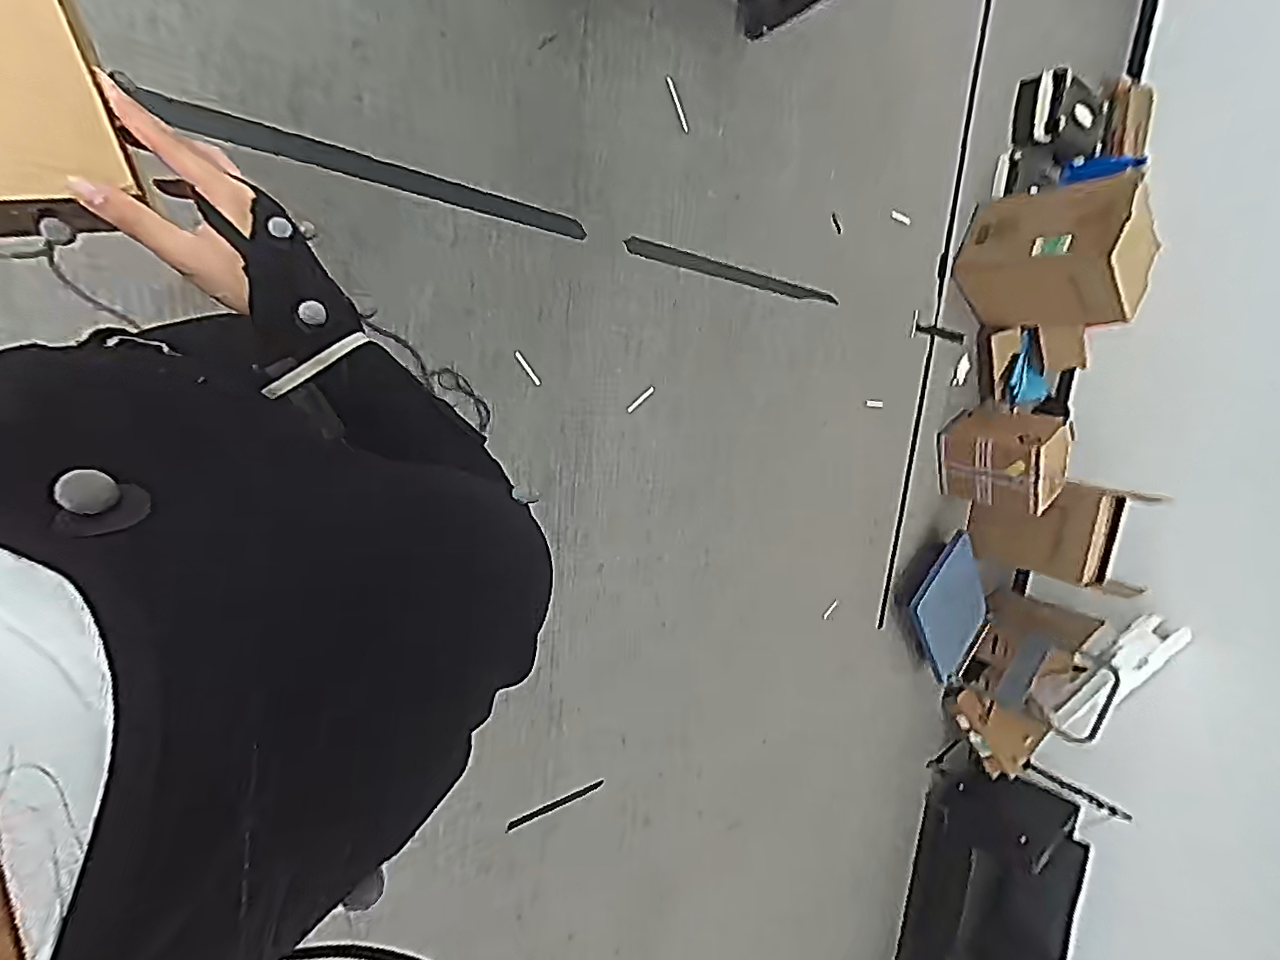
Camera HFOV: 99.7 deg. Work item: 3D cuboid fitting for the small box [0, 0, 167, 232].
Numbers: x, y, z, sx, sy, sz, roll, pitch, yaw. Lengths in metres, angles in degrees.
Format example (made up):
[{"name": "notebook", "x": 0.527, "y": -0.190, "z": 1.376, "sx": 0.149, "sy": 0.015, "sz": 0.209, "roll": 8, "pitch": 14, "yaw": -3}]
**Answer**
[{"name": "small box", "x": -0.393, "y": -0.231, "z": 0.289, "sx": 0.179, "sy": 0.176, "sz": 0.168, "roll": -21, "pitch": 116, "yaw": -31}]
